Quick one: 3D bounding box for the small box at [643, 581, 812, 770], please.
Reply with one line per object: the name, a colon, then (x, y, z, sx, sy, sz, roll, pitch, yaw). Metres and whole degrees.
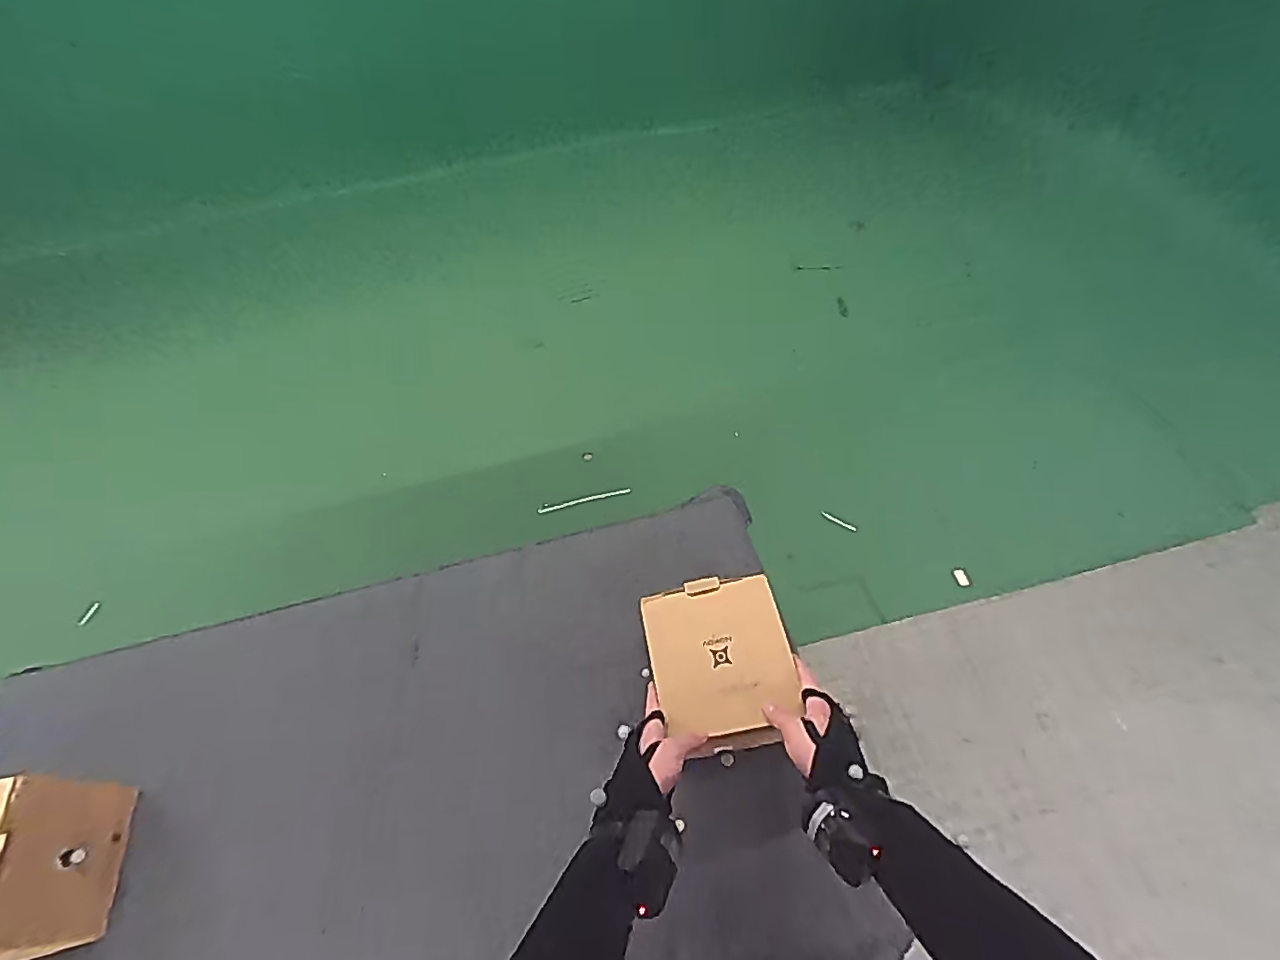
small box: (0.101, 0.252, 0.688, 0.168, 0.176, 0.179, -10, 56, 1)

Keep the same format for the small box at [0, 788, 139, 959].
small box: (-0.757, 0.480, 0.634, 0.179, 0.176, 0.168, -14, 55, -5)
